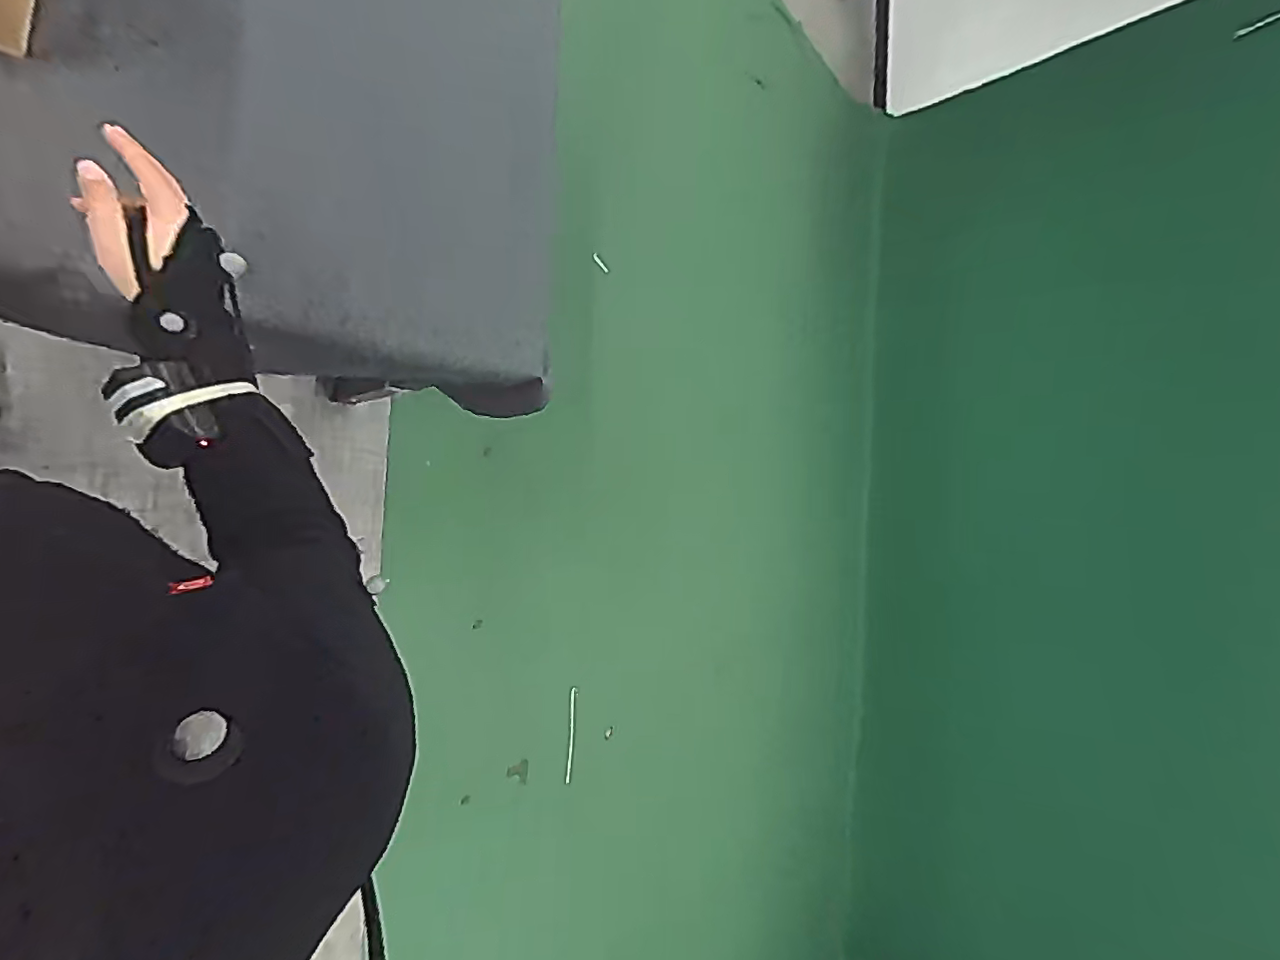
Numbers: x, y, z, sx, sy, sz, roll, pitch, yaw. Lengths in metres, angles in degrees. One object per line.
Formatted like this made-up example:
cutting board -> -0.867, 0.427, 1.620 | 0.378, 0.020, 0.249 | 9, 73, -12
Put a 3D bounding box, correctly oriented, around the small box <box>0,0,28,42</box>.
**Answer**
small box -> -0.490, -0.433, 0.328 | 0.168, 0.176, 0.179 | 9, 84, -48
